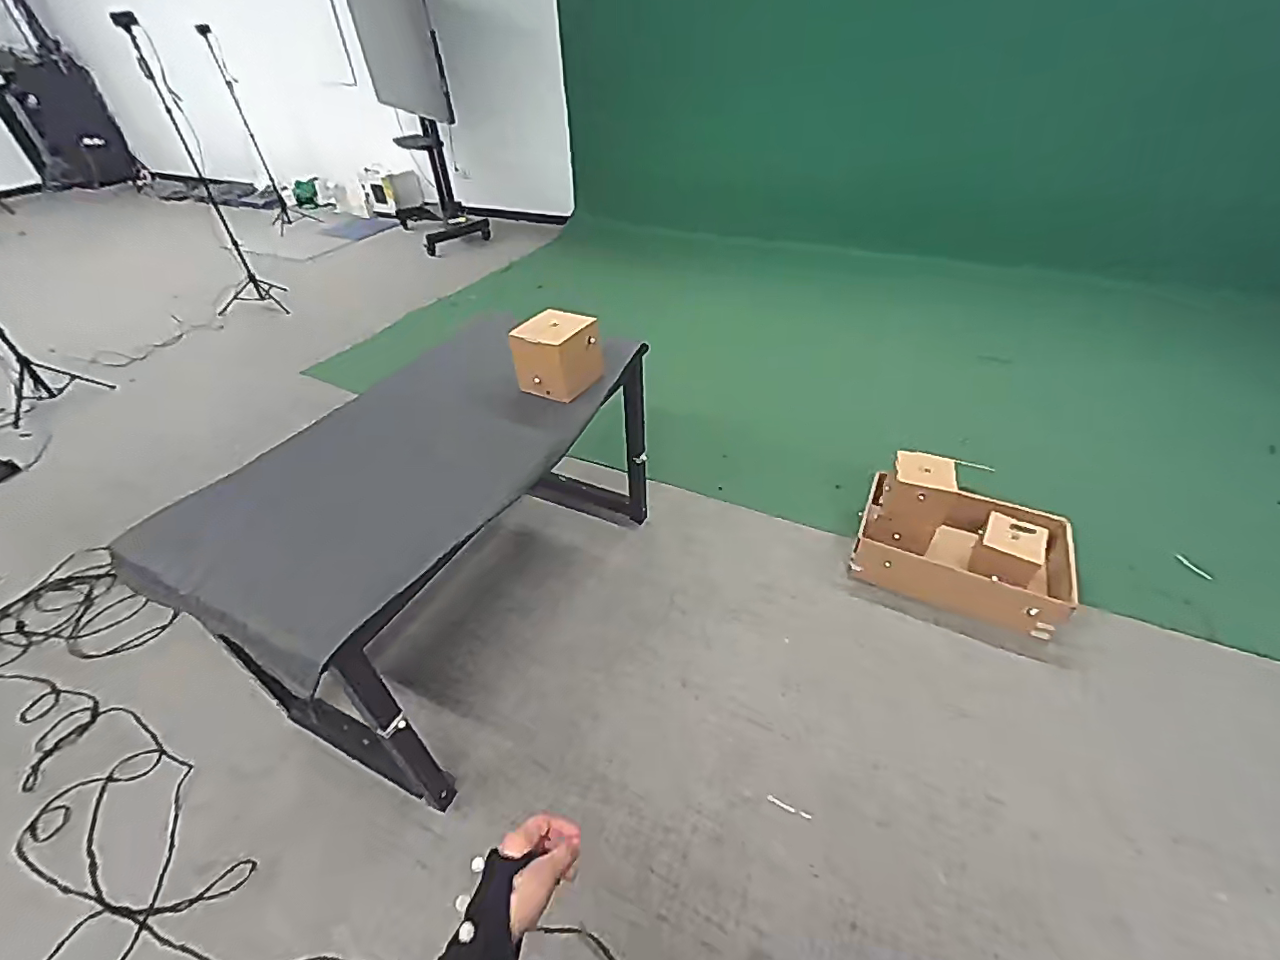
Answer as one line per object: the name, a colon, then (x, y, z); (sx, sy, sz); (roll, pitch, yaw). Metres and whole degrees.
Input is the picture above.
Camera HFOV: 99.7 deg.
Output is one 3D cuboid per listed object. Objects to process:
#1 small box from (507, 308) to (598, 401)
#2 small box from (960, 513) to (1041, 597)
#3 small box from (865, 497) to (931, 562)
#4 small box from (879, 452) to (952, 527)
small box: (-0.225, -0.337, 1.447); (0.168, 0.176, 0.179); (19, 46, 25)
small box: (1.183, 0.247, 1.779); (0.168, 0.176, 0.179); (23, 48, 26)
small box: (0.906, 0.159, 1.888); (0.179, 0.176, 0.168); (19, 46, 22)
small box: (0.899, 0.034, 1.781); (0.179, 0.176, 0.168); (13, 45, 13)
